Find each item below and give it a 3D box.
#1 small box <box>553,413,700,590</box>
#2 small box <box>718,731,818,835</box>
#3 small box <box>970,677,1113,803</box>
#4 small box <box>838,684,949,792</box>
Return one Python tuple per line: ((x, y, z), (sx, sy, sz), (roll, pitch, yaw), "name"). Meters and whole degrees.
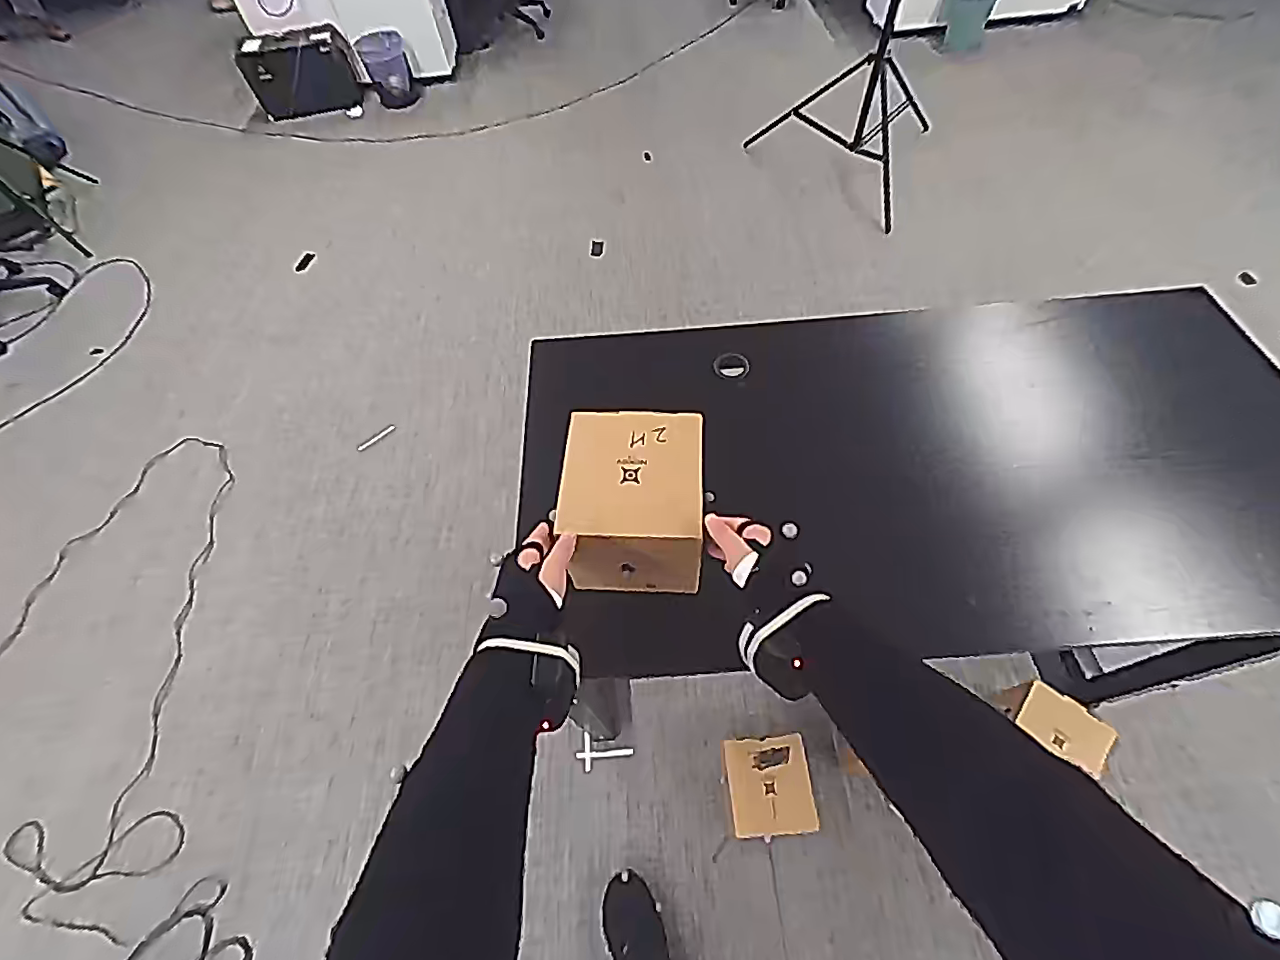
((-0.006, 0.033, 0.701), (0.168, 0.176, 0.179), (1, 58, 4), "small box")
((0.264, 0.651, 1.161), (0.168, 0.176, 0.179), (-6, 59, 1), "small box")
((0.856, 0.564, 1.170), (0.168, 0.176, 0.179), (34, 66, 23), "small box")
((0.554, 0.571, 1.191), (0.179, 0.176, 0.168), (13, 59, 13), "small box")
